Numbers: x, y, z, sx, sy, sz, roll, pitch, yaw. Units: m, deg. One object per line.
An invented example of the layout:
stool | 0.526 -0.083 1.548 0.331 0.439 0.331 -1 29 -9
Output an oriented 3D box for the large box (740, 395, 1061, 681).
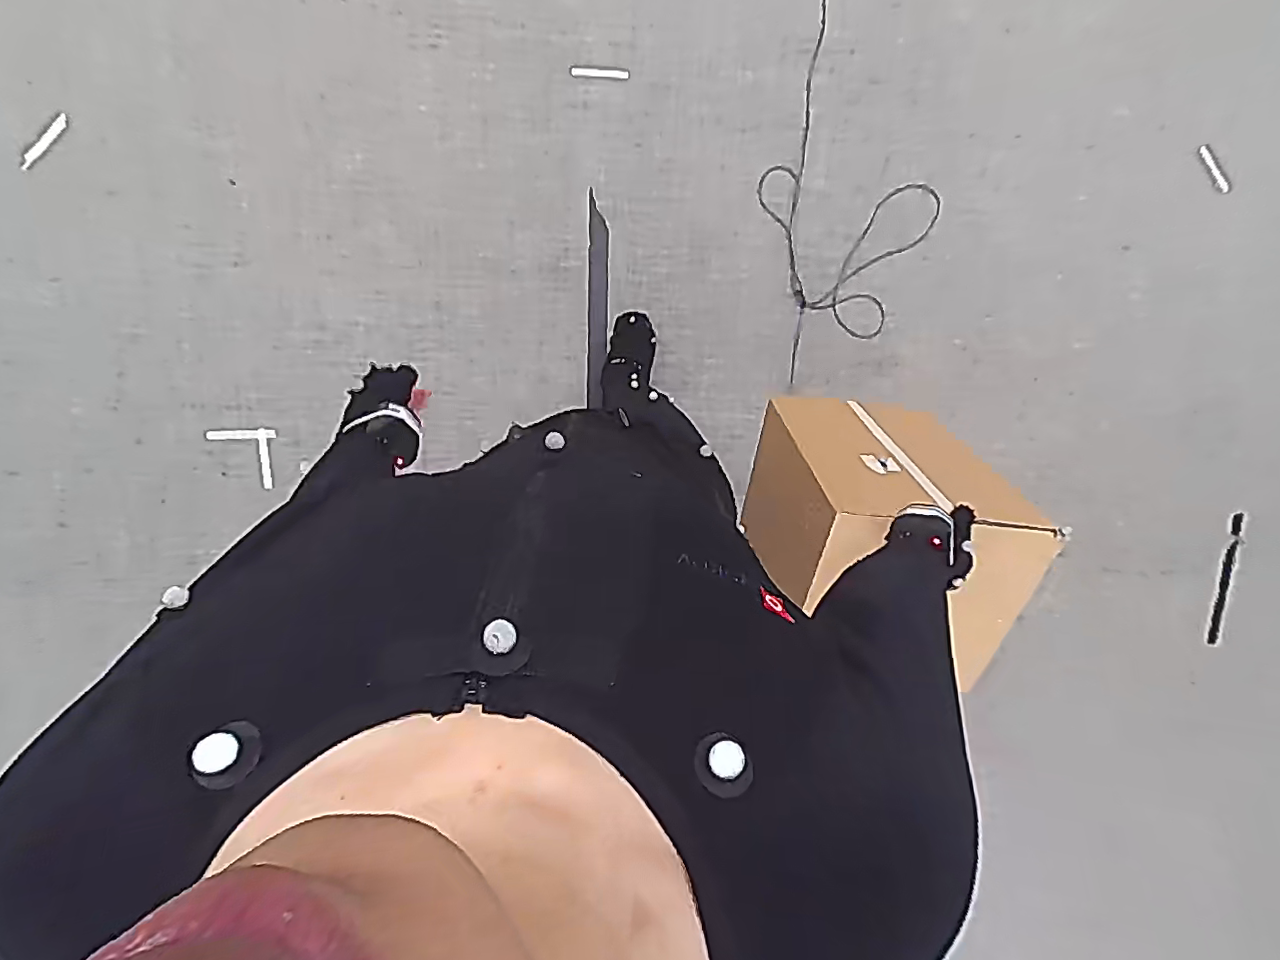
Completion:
large box | 0.389 0.083 0.952 0.320 0.408 0.320 5 121 -4
